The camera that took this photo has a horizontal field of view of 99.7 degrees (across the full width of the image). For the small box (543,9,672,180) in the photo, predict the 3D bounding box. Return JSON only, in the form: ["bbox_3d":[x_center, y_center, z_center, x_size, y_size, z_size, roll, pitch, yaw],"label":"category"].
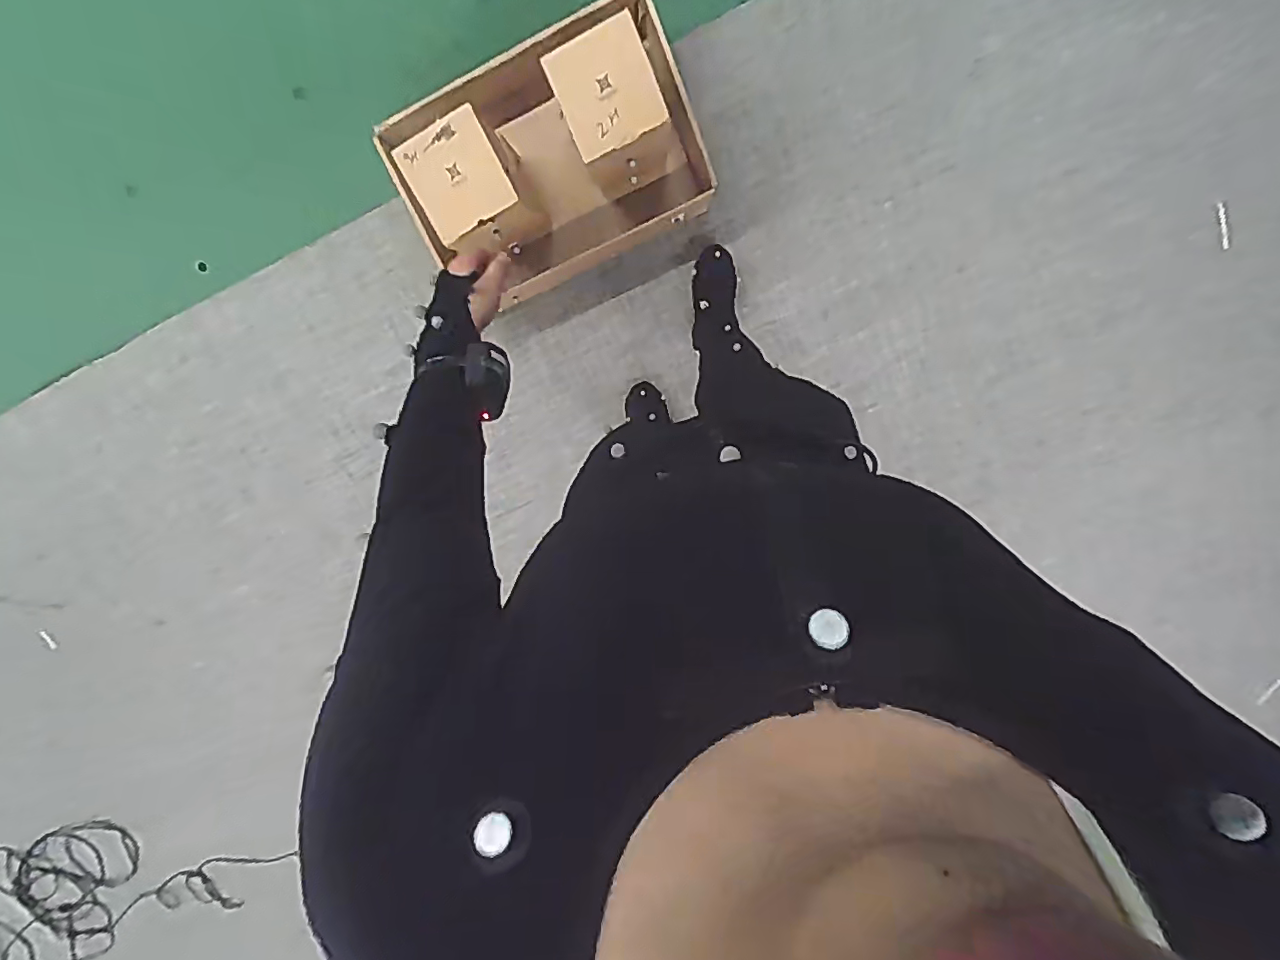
[{"bbox_3d":[-0.053,-0.679,0.978,0.168,0.176,0.179,-23,107,9],"label":"small box"}]

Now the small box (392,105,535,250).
[{"bbox_3d":[-0.320,-0.555,1.023,0.168,0.176,0.179,-26,106,9],"label":"small box"}]
